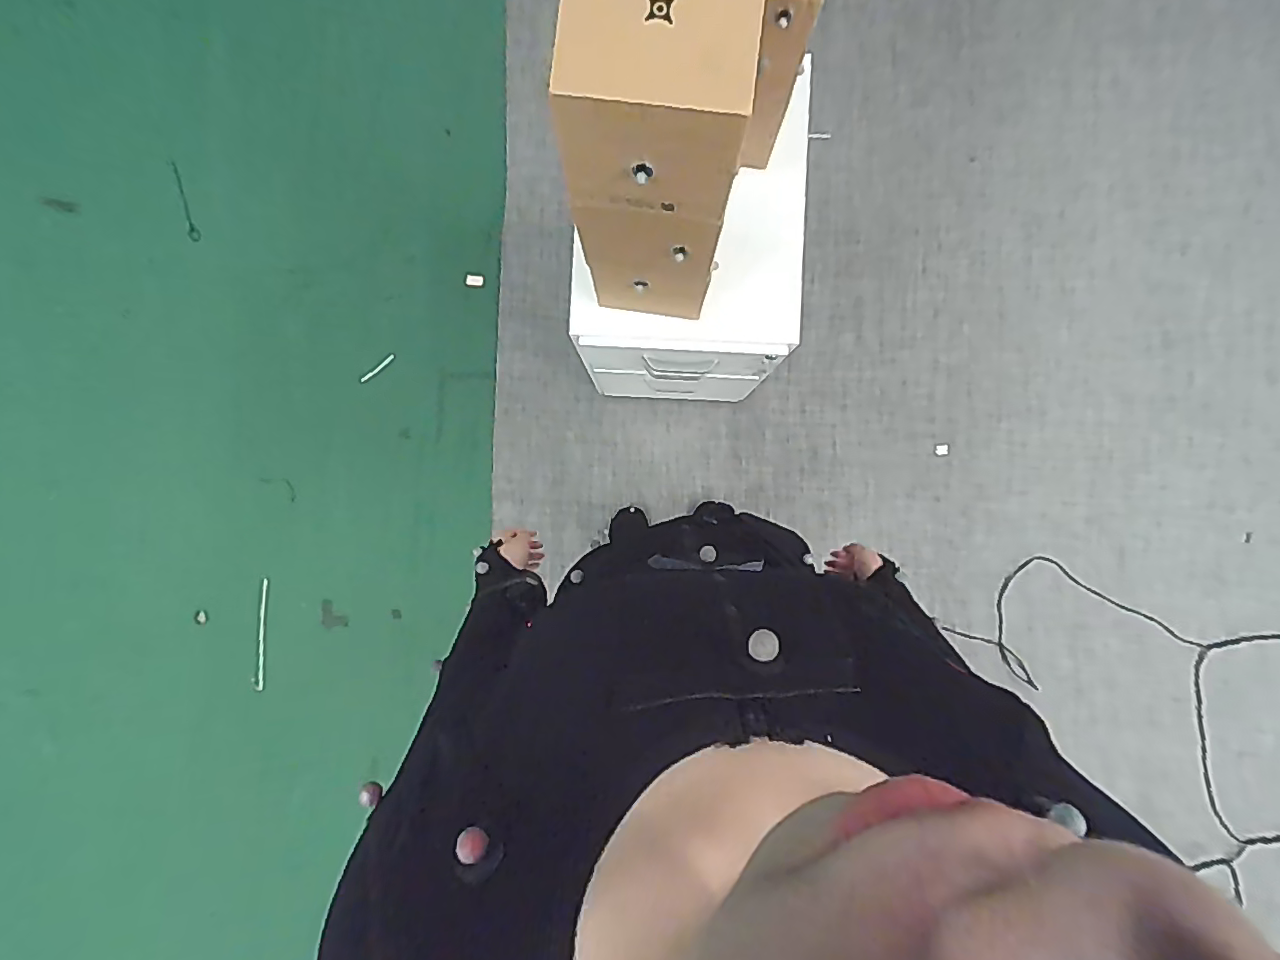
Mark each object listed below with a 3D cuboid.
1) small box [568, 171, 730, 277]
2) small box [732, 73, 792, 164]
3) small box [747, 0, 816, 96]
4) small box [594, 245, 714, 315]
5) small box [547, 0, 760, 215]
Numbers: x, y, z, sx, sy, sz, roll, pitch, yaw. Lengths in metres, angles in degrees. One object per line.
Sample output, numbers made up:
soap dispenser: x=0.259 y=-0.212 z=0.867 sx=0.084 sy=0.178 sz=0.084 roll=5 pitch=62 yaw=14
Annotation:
small box: x=0.018 y=-0.374 z=0.682 sx=0.179 sy=0.176 sz=0.168 roll=8 pitch=87 yaw=2
small box: x=0.141 y=-0.631 z=0.849 sx=0.179 sy=0.176 sz=0.168 roll=10 pitch=89 yaw=2
small box: x=0.133 y=-0.631 z=0.687 sx=0.179 sy=0.176 sz=0.168 roll=9 pitch=89 yaw=1
small box: x=0.024 y=-0.372 z=0.844 sx=0.179 sy=0.176 sz=0.168 roll=9 pitch=88 yaw=0
small box: x=0.016 y=-0.384 z=0.517 sx=0.168 sy=0.176 sz=0.179 roll=7 pitch=87 yaw=0
